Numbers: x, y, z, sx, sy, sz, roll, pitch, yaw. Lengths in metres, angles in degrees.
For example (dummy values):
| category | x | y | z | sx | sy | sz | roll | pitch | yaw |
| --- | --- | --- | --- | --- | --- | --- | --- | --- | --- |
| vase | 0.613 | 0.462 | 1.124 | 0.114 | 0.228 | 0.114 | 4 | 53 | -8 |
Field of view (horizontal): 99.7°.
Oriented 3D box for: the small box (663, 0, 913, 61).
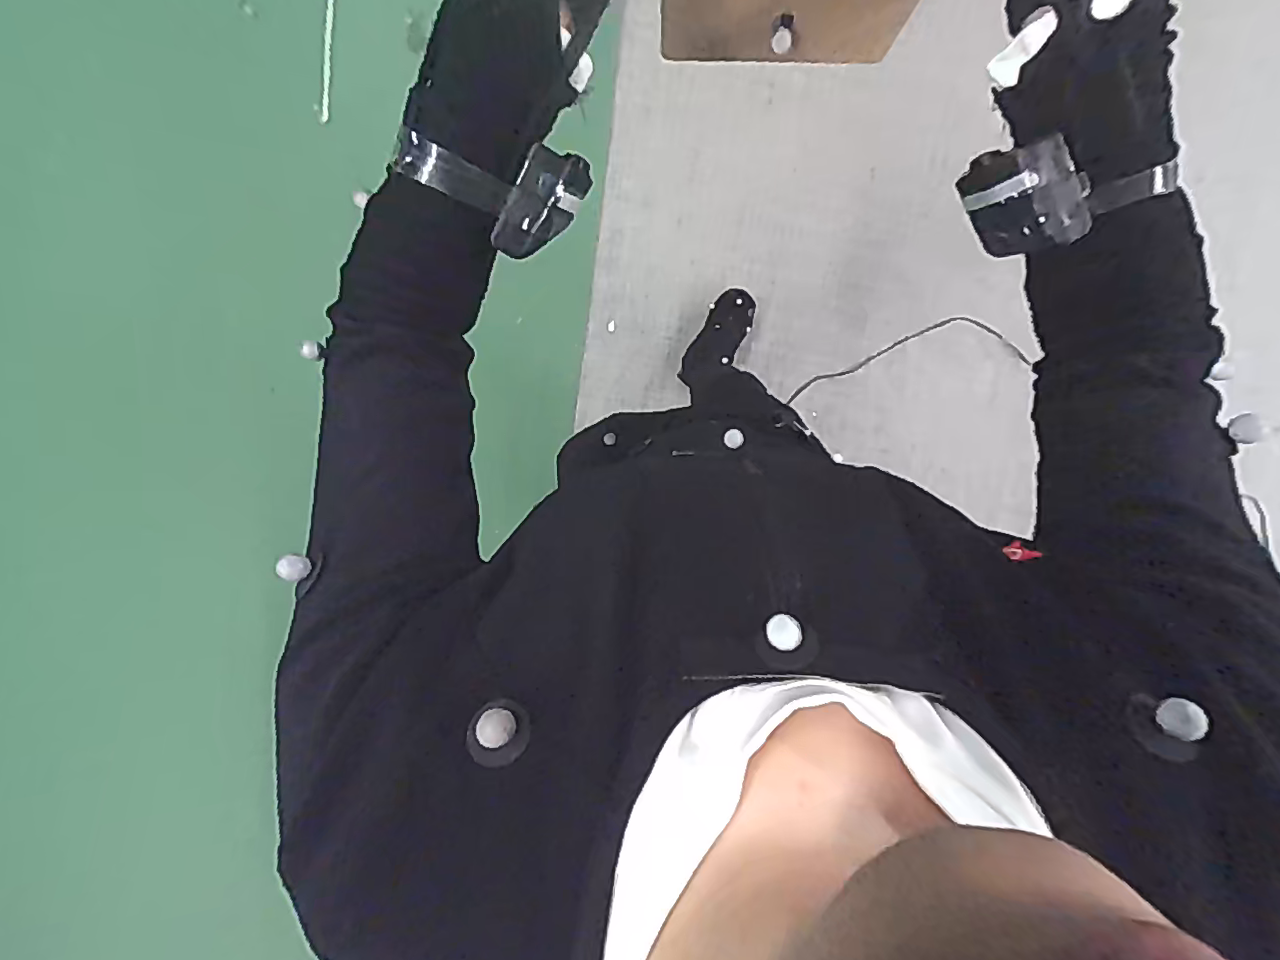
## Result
| category | x | y | z | sx | sy | sz | roll | pitch | yaw |
| --- | --- | --- | --- | --- | --- | --- | --- | --- | --- |
| small box | 0.110 | -0.406 | 0.341 | 0.179 | 0.176 | 0.168 | 2 | 93 | 0 |
